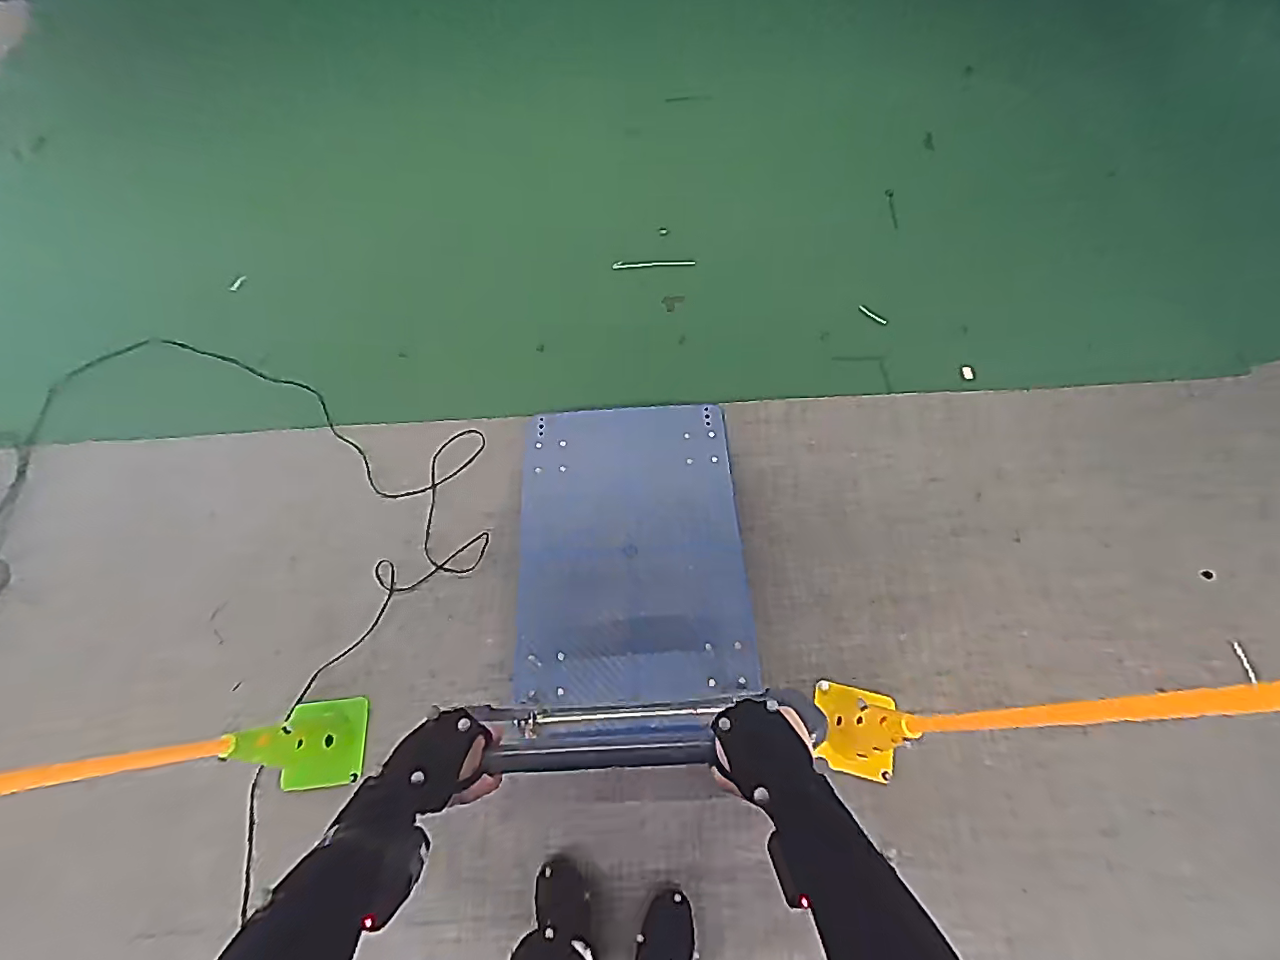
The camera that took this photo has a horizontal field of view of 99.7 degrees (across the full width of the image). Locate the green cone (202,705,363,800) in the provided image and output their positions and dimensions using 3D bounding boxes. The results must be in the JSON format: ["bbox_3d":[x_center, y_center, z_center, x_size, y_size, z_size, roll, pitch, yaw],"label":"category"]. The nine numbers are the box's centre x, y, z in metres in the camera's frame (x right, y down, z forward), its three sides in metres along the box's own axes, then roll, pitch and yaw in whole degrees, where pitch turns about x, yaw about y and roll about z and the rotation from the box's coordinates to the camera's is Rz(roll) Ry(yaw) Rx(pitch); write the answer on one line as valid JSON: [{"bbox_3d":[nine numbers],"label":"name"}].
[{"bbox_3d":[-0.811,0.605,1.204,0.202,0.368,0.200,-7,64,0],"label":"green cone"}]
